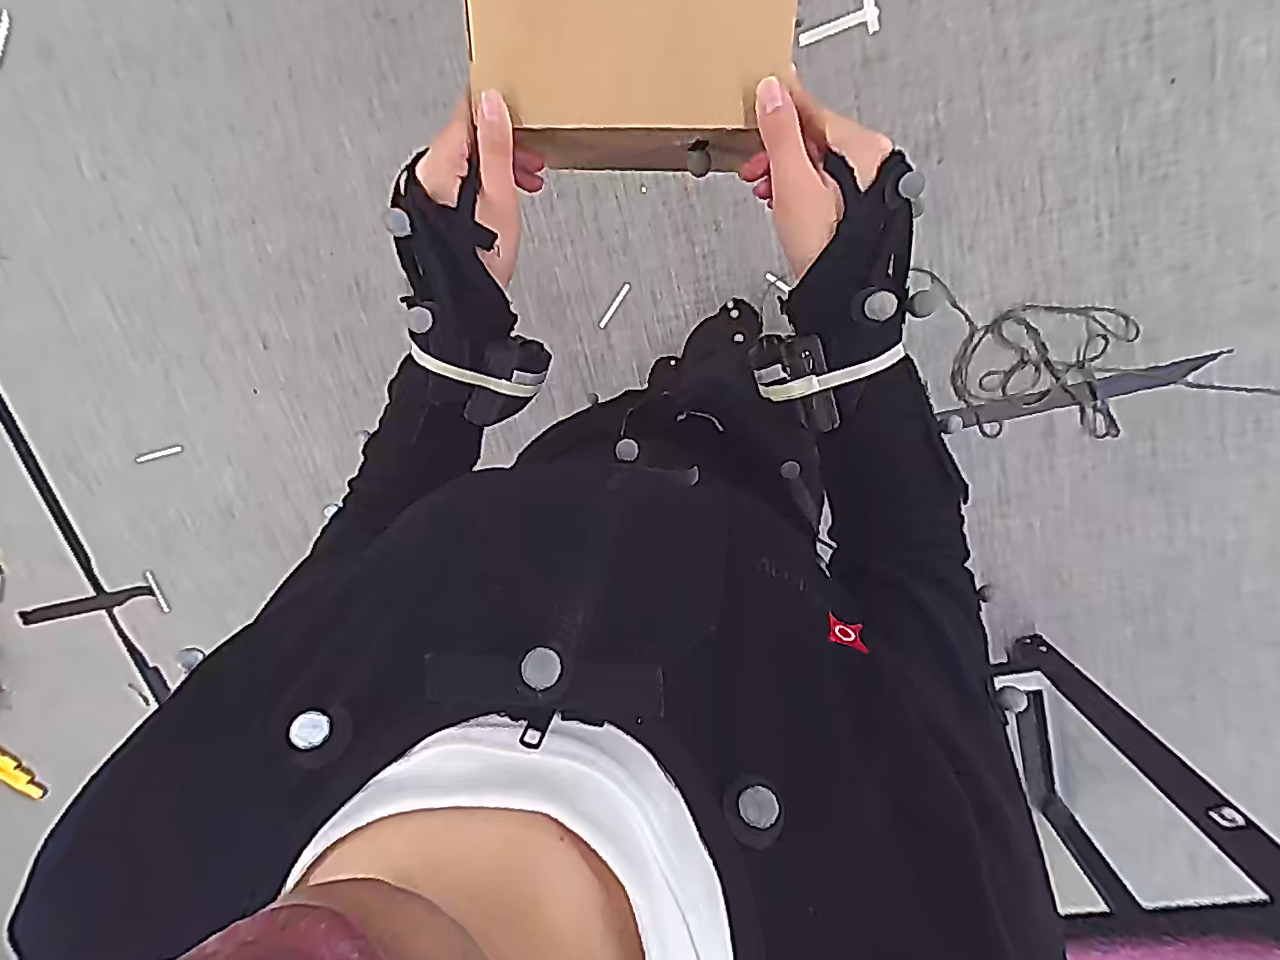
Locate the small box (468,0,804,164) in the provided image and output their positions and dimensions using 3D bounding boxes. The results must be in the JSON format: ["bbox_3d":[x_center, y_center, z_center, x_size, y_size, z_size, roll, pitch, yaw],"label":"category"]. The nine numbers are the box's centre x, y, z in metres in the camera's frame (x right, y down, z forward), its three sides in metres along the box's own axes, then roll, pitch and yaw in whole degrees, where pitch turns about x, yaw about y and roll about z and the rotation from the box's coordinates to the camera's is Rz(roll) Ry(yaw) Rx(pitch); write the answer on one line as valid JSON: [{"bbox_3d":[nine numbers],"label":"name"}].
[{"bbox_3d":[0.004,-0.306,0.338,0.179,0.176,0.168,4,112,6],"label":"small box"}]
